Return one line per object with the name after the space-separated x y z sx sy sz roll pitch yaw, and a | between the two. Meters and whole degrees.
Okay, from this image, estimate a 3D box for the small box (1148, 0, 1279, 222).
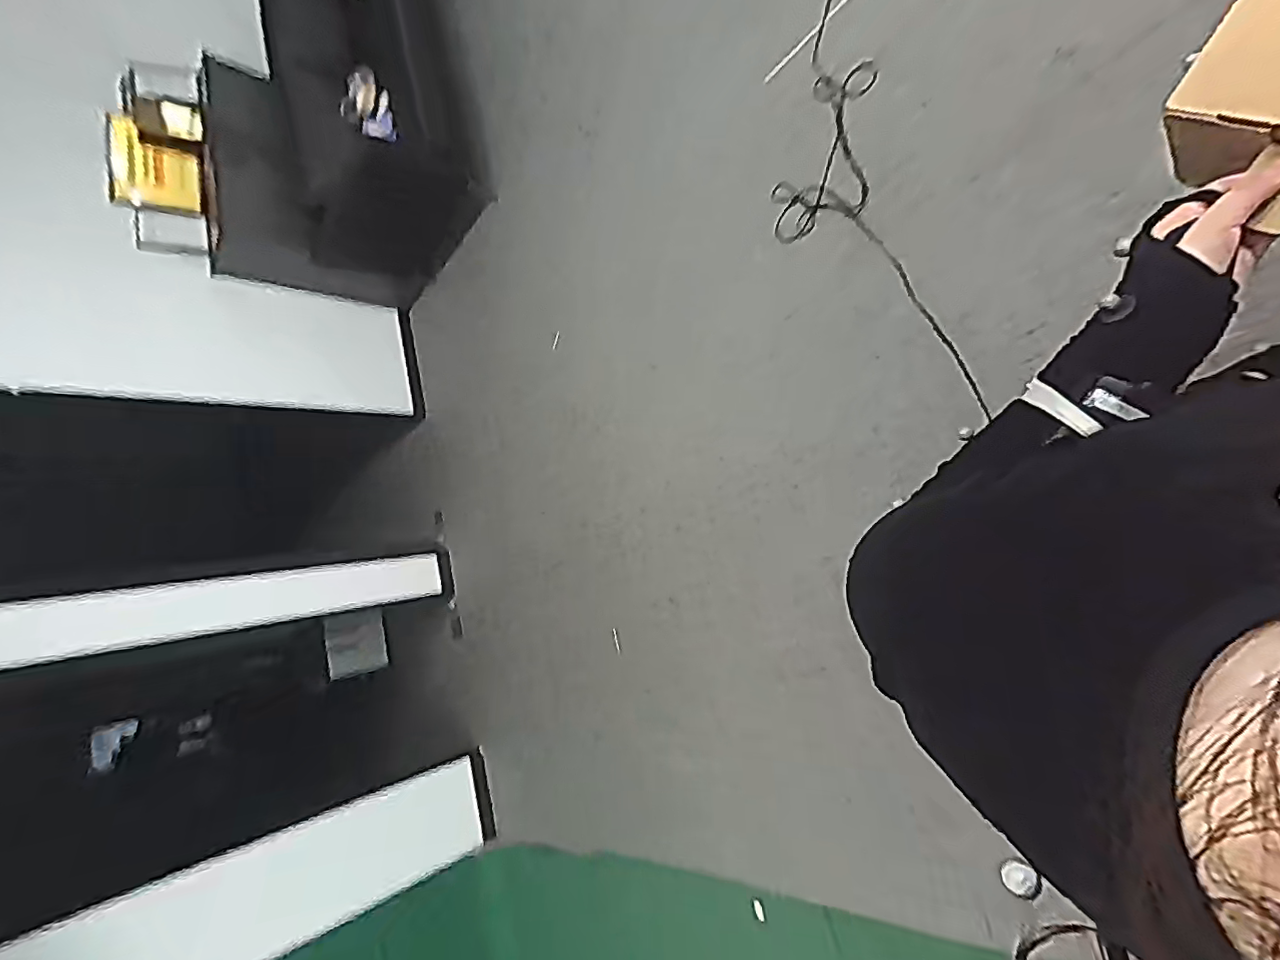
0.493 -0.282 0.356 0.168 0.176 0.179 43 124 35 | small box
